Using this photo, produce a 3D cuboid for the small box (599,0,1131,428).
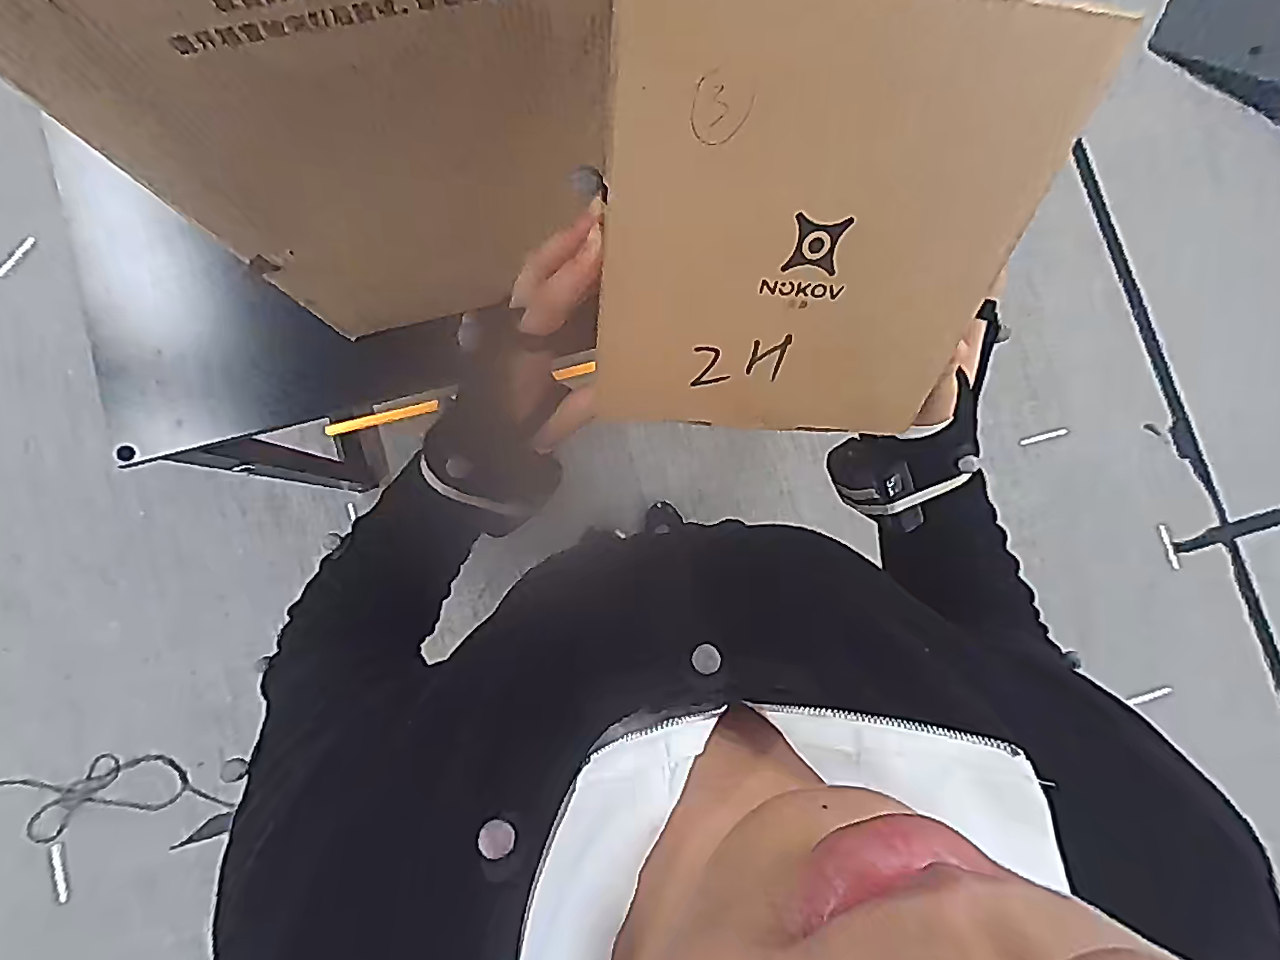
[{"bbox_3d":[0.066,-0.150,0.279,0.168,0.179,0.176,3,43,-6],"label":"small box"}]
